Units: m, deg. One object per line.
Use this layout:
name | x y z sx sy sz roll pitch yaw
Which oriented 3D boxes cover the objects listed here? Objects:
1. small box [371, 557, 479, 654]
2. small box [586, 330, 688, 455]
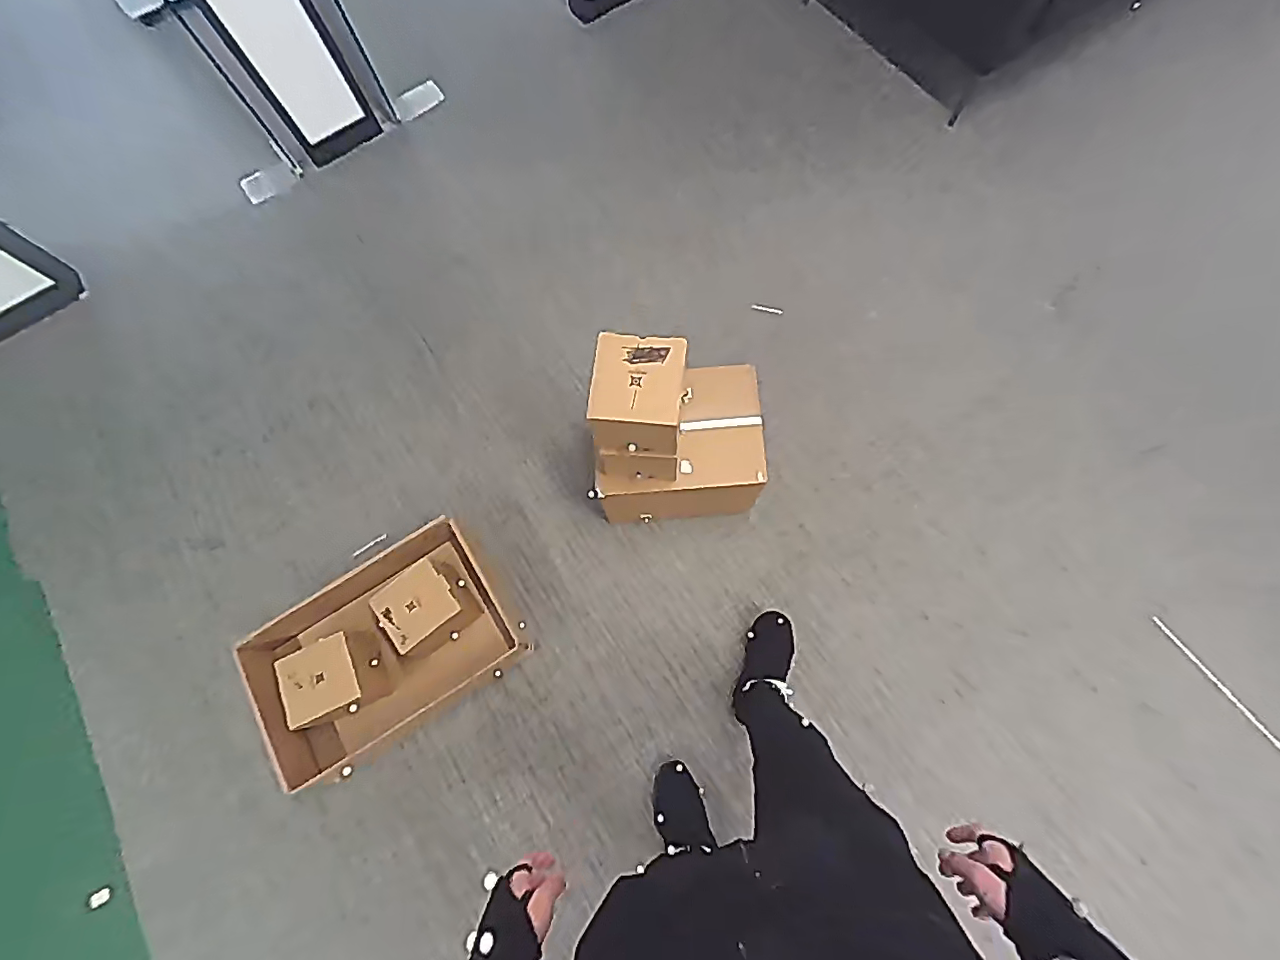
small box | -0.532 0.320 1.375 0.179 0.176 0.168 -38 74 -8
small box | 0.000 -0.163 1.040 0.168 0.176 0.179 6 75 6
